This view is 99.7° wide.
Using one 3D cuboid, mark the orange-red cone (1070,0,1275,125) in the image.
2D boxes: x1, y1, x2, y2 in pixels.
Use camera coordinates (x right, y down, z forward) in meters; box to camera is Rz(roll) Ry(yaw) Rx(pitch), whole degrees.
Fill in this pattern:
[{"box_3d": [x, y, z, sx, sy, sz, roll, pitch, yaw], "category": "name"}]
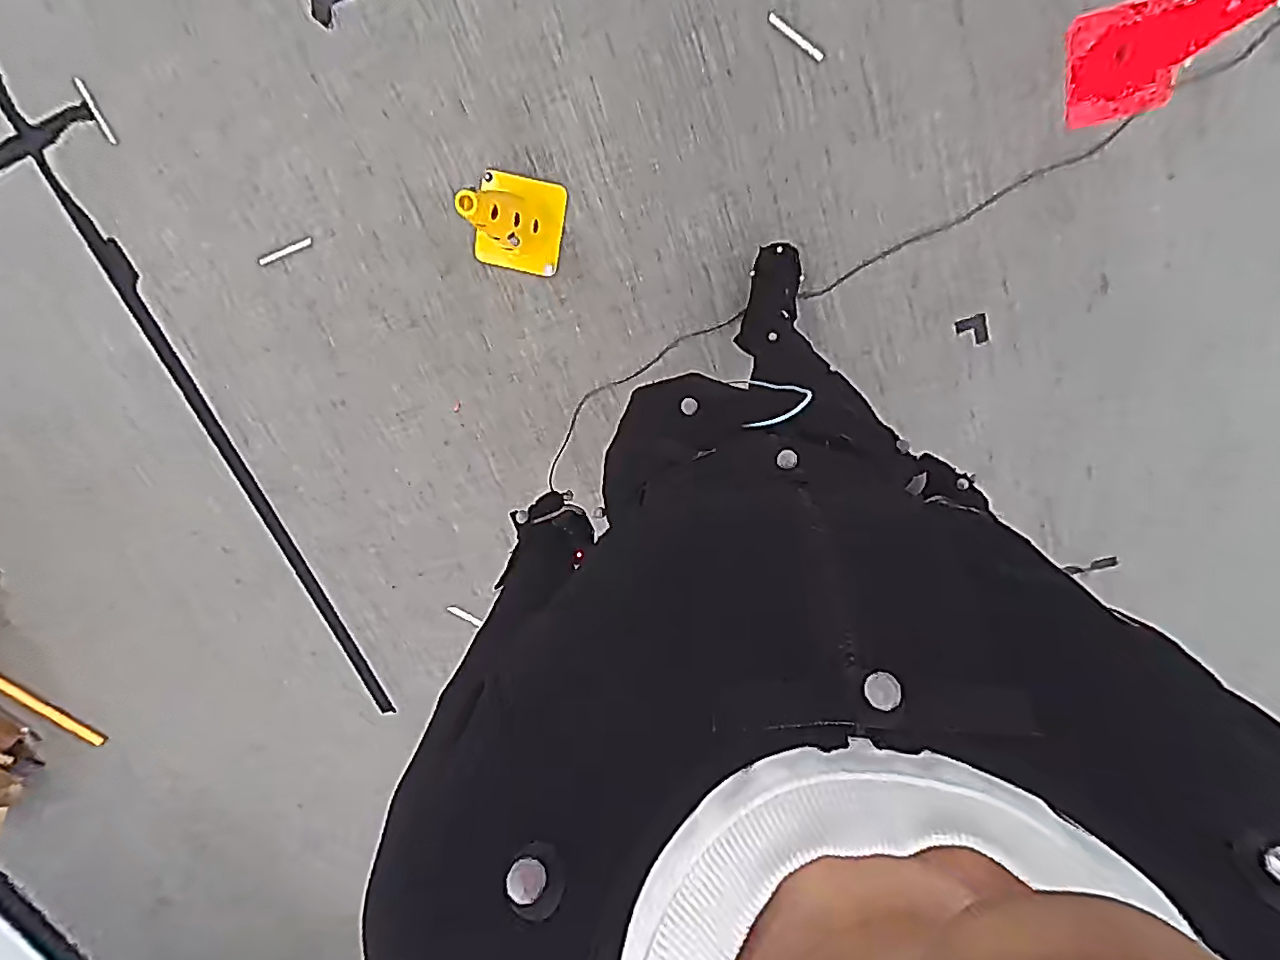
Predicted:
[{"box_3d": [0.970, -0.797, 0.940, 0.199, 0.360, 0.198, -10, 107, 8], "category": "orange-red cone"}]
